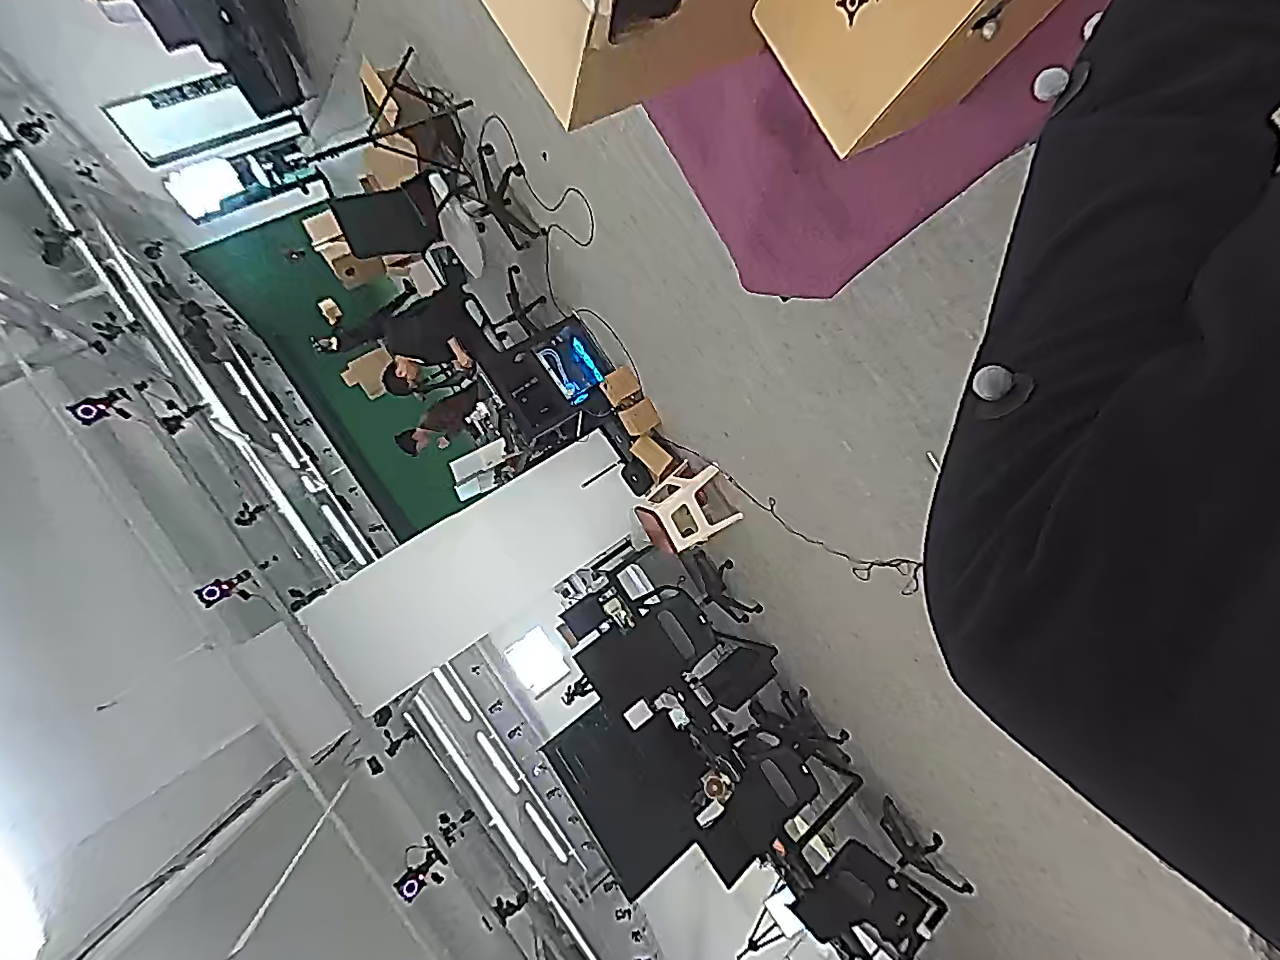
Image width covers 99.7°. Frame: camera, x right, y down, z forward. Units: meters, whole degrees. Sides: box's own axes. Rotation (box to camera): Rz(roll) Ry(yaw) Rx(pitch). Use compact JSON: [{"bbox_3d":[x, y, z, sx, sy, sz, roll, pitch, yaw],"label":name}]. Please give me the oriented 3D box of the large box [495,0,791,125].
[{"bbox_3d":[-0.021,-0.663,0.503,0.408,0.320,0.320,54,163,-3],"label":"large box"}]
